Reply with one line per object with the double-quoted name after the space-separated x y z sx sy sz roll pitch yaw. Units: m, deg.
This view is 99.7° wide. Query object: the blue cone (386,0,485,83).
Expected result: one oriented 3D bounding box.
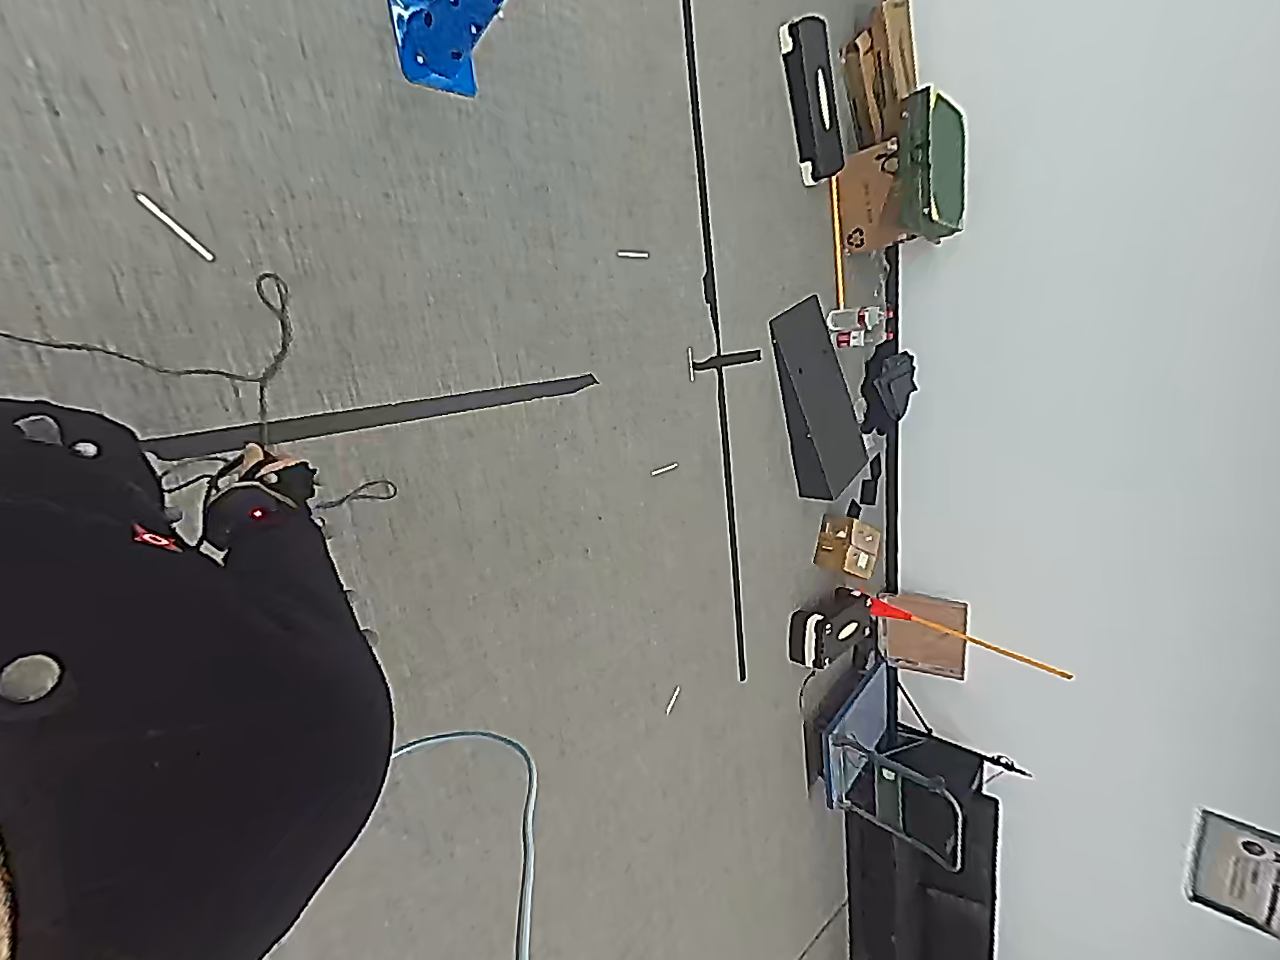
-0.401 -1.085 1.219 0.193 0.380 0.192 -20 108 -44 "blue cone"
